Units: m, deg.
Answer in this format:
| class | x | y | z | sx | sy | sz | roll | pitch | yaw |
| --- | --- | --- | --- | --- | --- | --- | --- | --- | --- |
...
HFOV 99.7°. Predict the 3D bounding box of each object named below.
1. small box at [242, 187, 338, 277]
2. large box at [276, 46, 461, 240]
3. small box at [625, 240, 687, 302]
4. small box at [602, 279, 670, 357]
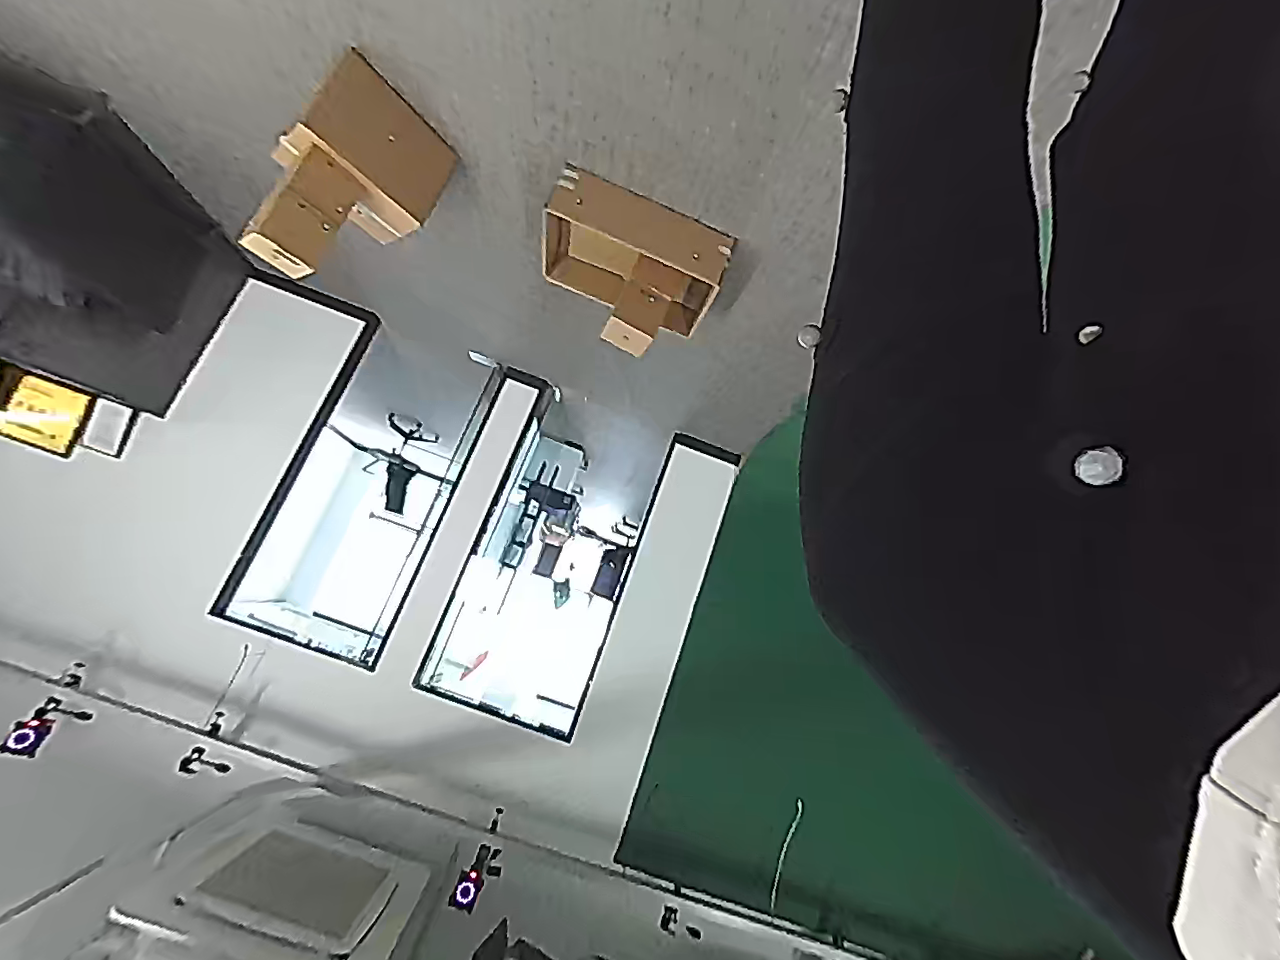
| class | x | y | z | sx | sy | sz | roll | pitch | yaw |
| --- | --- | --- | --- | --- | --- | --- | --- | --- | --- |
| small box | -1.042 | -0.742 | 1.619 | 0.179 | 0.176 | 0.168 | 9 | 162 | 41 |
| large box | -0.889 | -1.088 | 1.796 | 0.320 | 0.320 | 0.408 | 8 | 163 | 42 |
| small box | 0.052 | -0.715 | 1.943 | 0.168 | 0.176 | 0.179 | 26 | 164 | -8 |
| small box | -0.012 | -0.569 | 1.905 | 0.168 | 0.176 | 0.179 | 26 | 164 | -12 |
